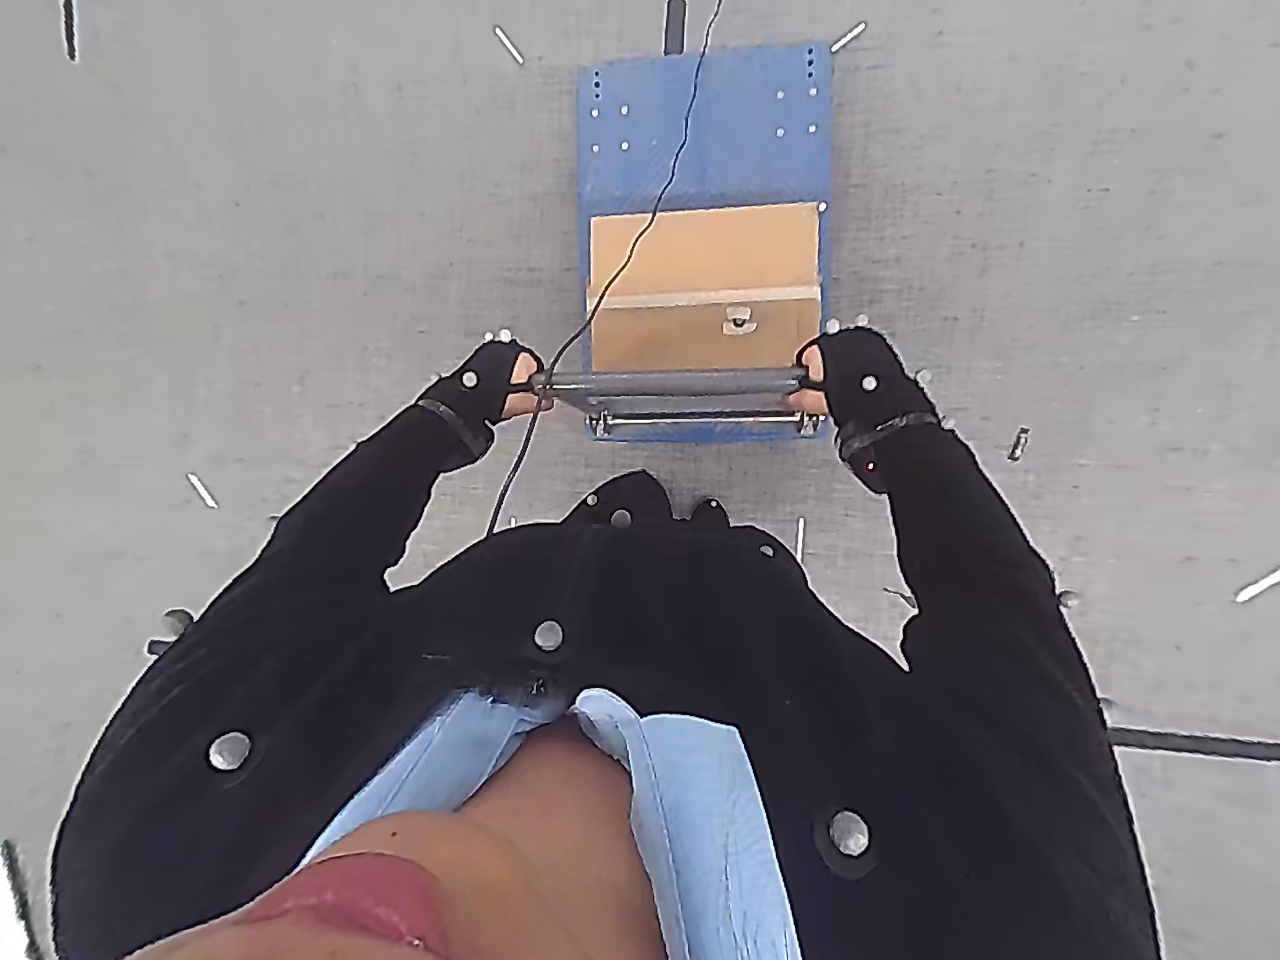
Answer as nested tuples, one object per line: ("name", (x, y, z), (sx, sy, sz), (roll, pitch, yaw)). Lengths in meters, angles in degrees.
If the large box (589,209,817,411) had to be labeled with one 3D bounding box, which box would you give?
("large box", (0.125, -0.316, 1.109), (0.408, 0.320, 0.320), (-1, 93, 7))
